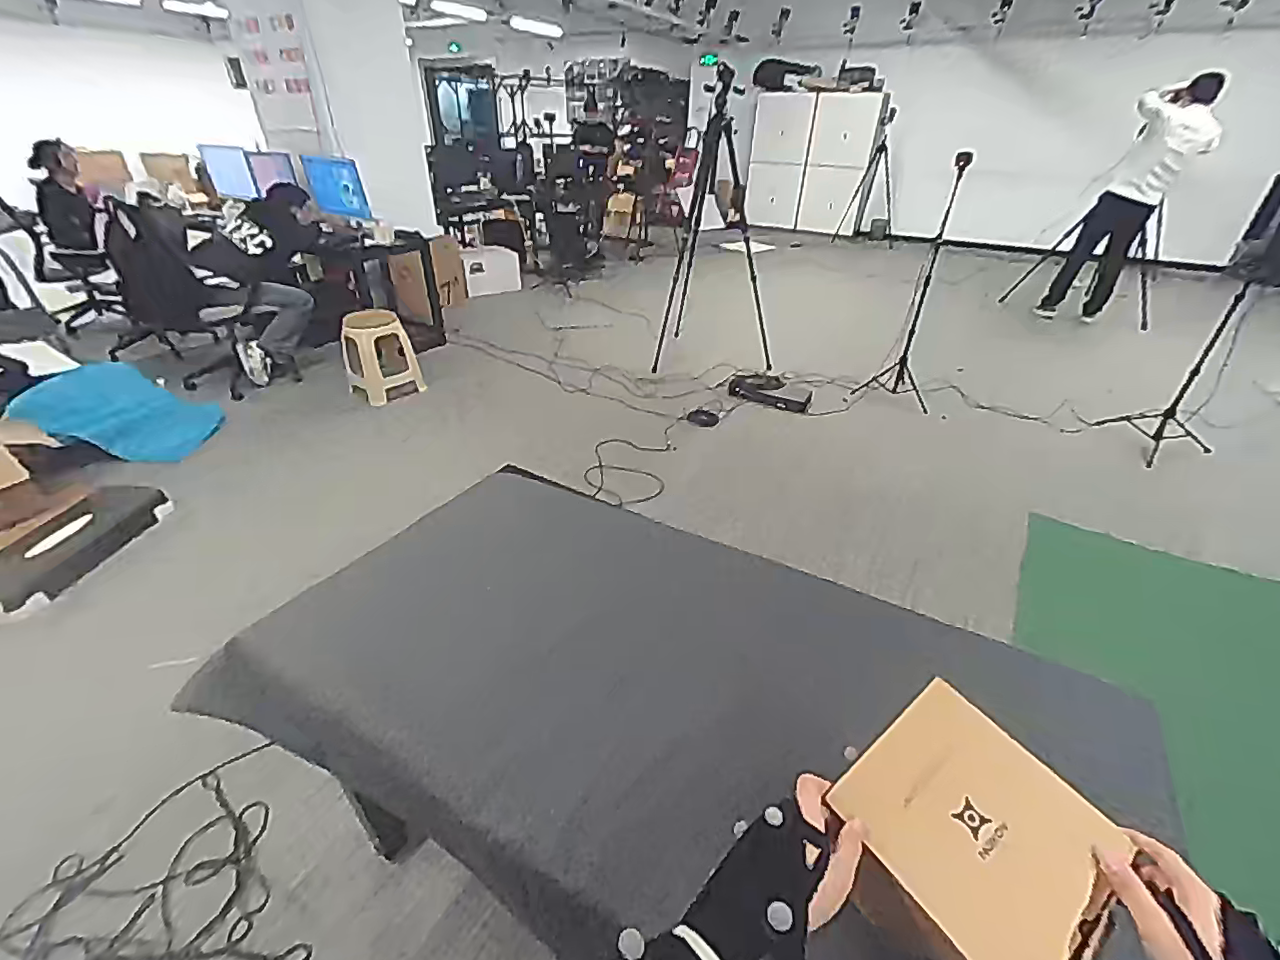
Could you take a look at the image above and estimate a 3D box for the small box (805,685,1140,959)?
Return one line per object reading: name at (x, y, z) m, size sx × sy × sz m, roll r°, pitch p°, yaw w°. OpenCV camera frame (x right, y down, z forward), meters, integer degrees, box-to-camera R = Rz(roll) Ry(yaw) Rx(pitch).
small box at (0.279, 0.332, 0.497) m, size 0.168 × 0.176 × 0.179 m, roll -33°, pitch 53°, yaw -22°
